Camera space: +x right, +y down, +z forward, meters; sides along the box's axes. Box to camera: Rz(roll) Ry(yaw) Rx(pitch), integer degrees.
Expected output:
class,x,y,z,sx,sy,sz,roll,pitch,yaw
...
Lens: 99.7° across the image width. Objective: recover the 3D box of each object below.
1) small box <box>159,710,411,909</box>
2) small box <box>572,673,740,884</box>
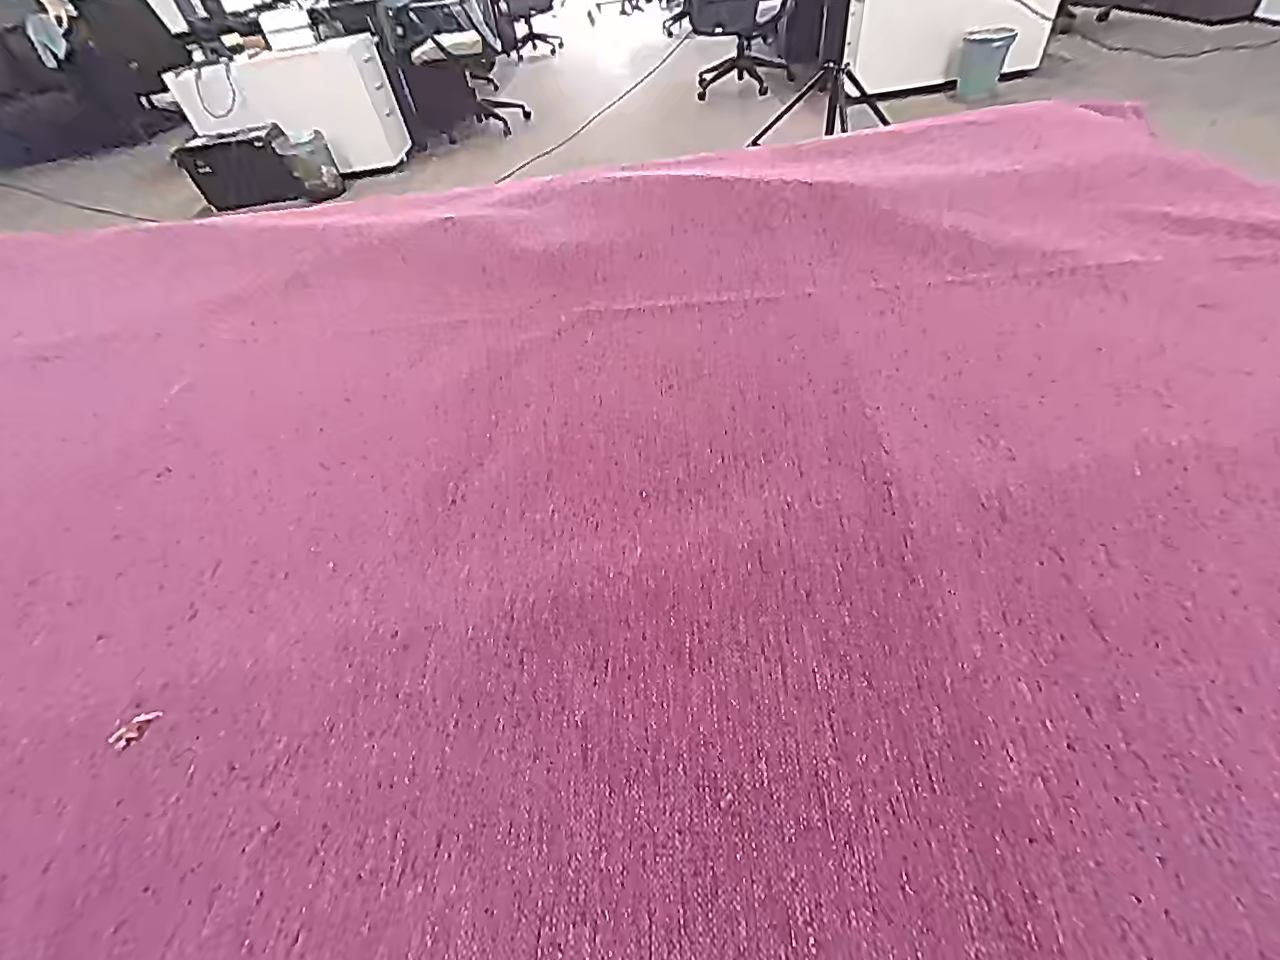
class,x,y,z,sx,sy,sz,roll,pitch,yaw
small box,-0.403,0.401,0.657,0.168,0.176,0.179,-7,49,3
small box,0.019,0.352,0.635,0.168,0.176,0.179,-9,49,3
